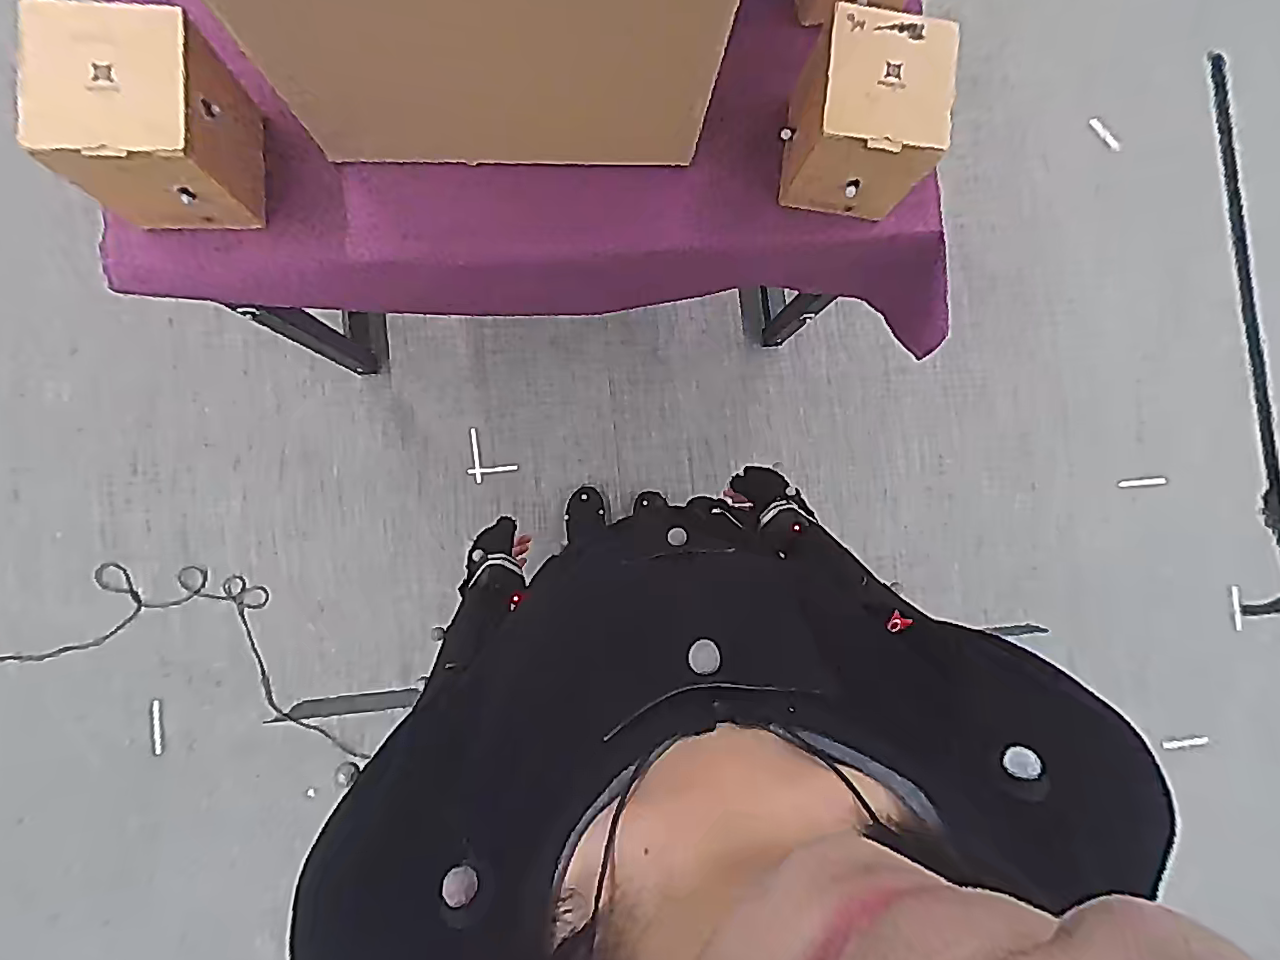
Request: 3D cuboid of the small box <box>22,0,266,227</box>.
[{"bbox_3d":[-0.600,-0.440,0.678,0.168,0.176,0.179,-3,86,-8],"label":"small box"}]
